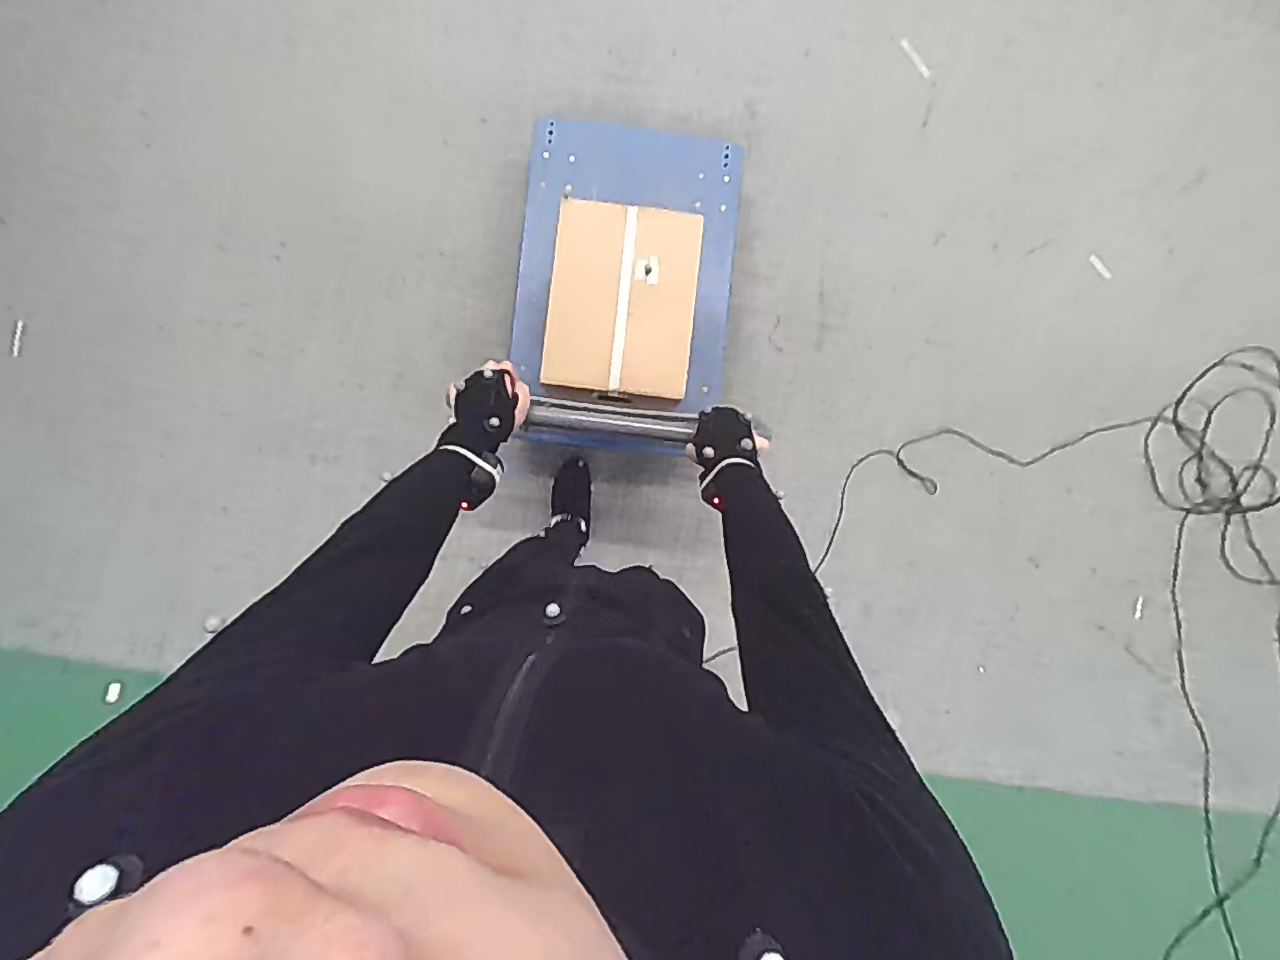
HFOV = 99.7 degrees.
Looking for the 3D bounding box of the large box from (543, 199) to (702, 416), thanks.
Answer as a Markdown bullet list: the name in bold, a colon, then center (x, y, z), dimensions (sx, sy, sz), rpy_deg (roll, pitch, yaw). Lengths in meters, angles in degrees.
- **large box**: center (-0.041, -0.383, 1.302), dimensions (0.320, 0.320, 0.408), rpy_deg (6, 88, -3)
